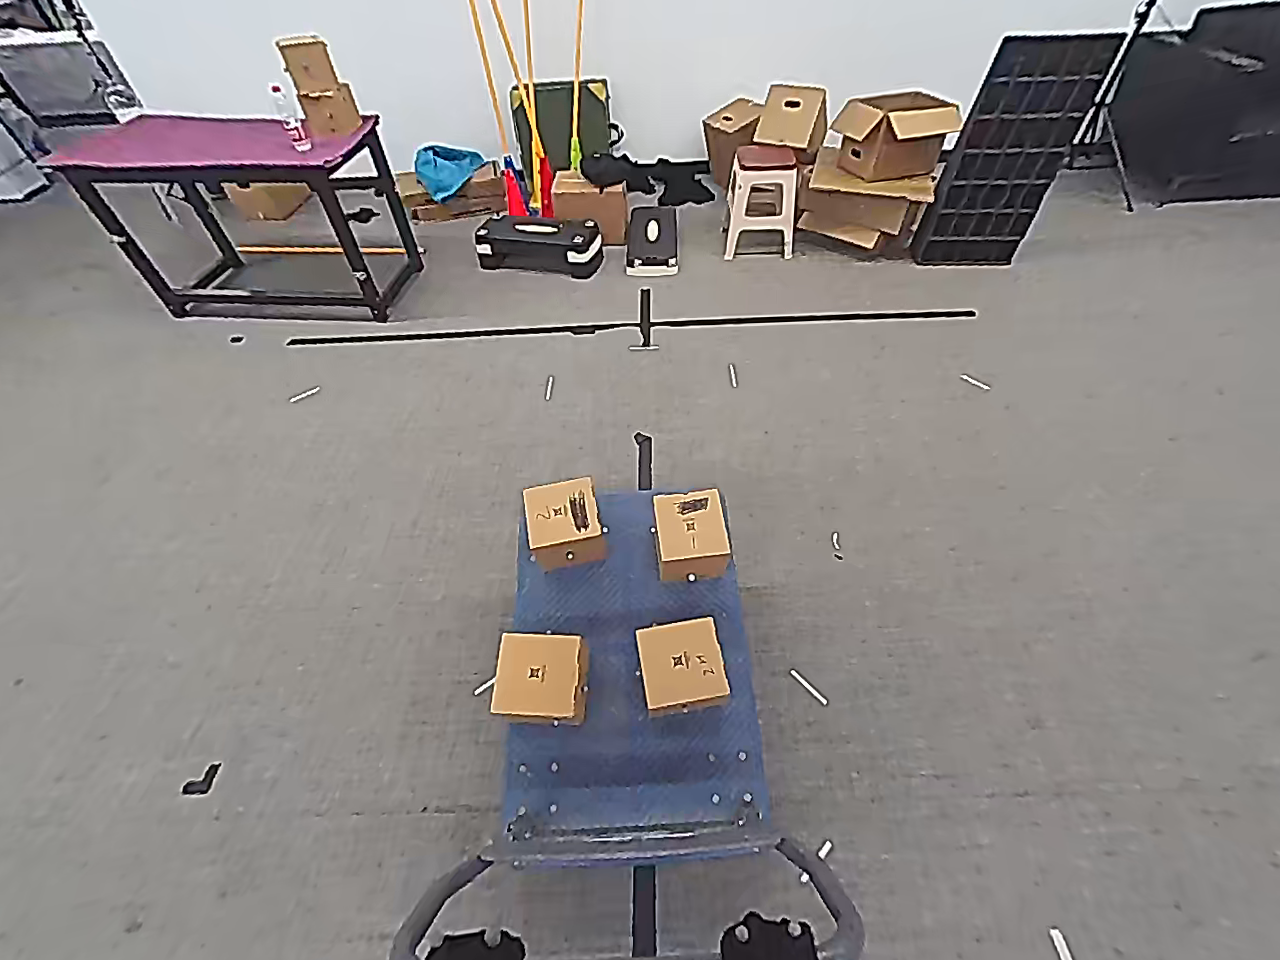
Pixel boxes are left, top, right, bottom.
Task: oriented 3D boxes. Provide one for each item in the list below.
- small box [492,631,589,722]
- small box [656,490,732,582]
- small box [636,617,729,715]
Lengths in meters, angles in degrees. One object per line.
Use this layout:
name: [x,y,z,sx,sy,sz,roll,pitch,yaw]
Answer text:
small box: [-0.215,0.446,1.216,0.179,0.176,0.168,2,61,1]
small box: [0.129,0.145,1.373,0.168,0.176,0.179,-6,62,-1]
small box: [0.092,0.423,1.218,0.179,0.176,0.168,-9,61,-3]
